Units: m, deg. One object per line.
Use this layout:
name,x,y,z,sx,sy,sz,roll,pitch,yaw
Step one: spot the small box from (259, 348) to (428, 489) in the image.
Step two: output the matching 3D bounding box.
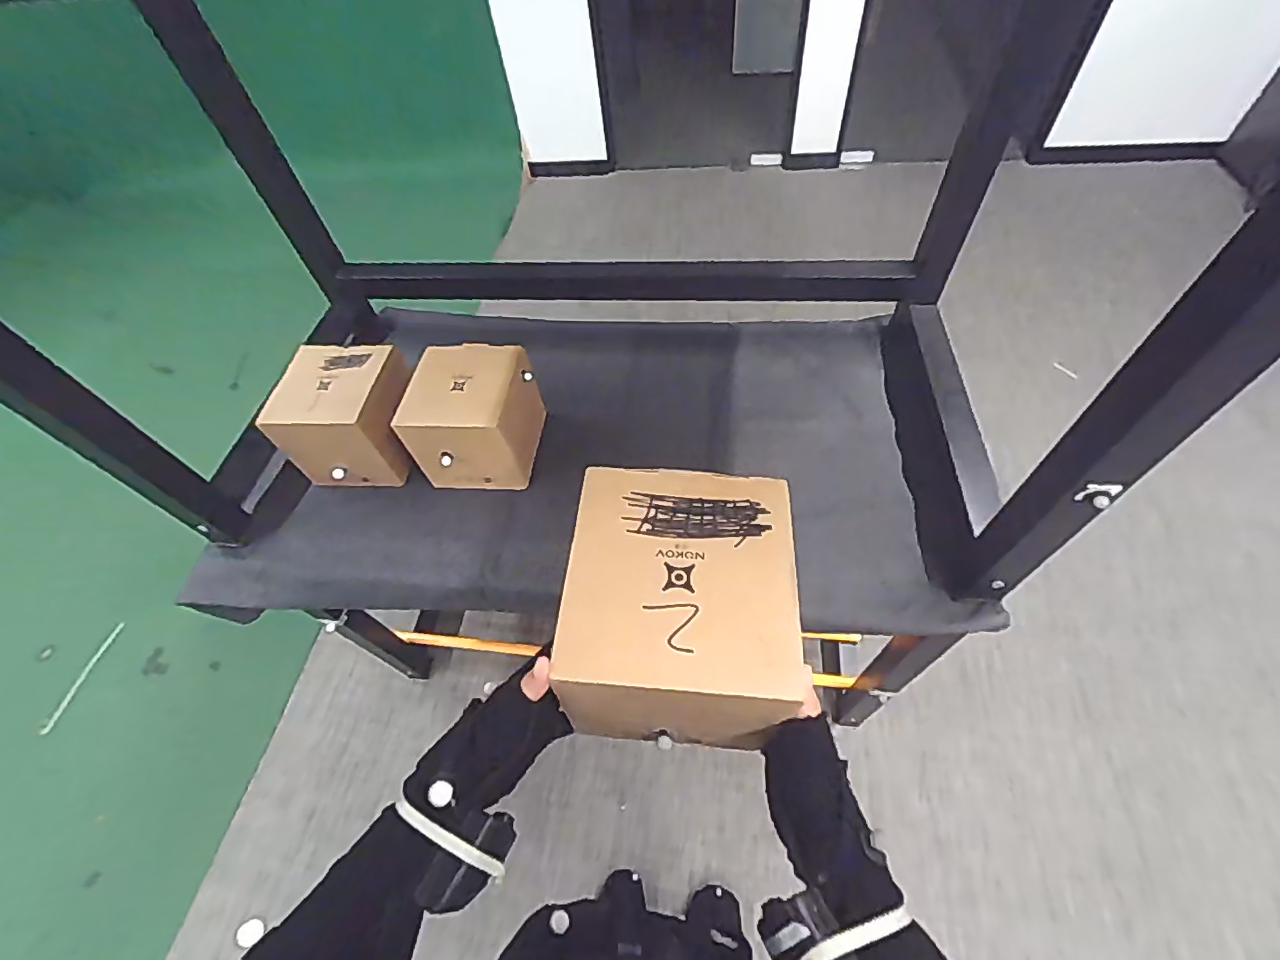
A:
small box,-0.487,-0.105,0.924,0.168,0.176,0.179,1,55,7
